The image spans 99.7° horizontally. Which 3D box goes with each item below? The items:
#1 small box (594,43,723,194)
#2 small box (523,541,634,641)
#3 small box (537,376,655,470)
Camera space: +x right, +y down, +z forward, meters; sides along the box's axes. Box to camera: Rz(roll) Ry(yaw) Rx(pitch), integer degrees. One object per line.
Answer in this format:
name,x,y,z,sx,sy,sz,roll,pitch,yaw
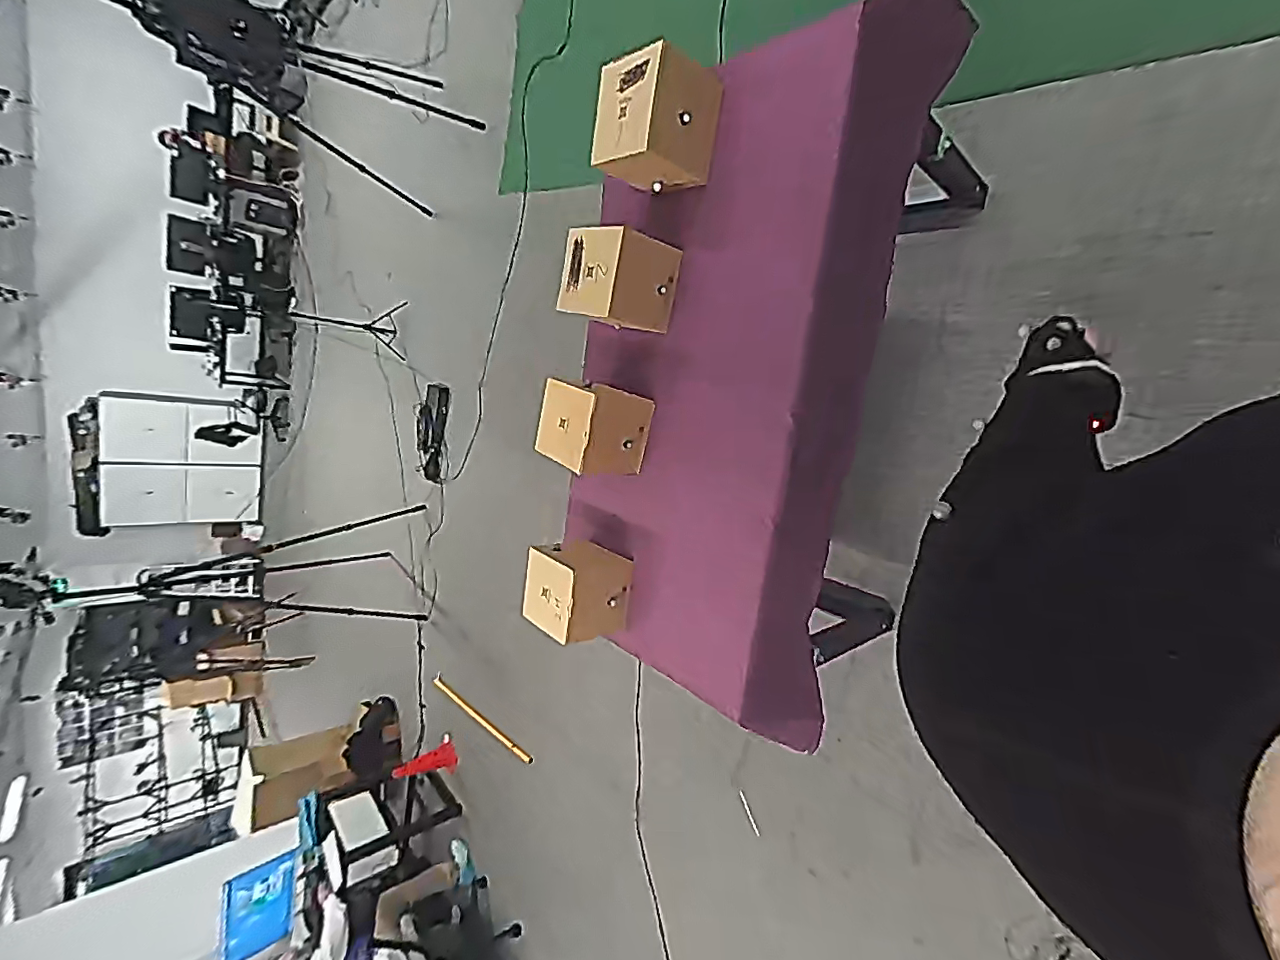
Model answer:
small box,0.038,-0.677,1.038,0.168,0.176,0.179,21,107,45
small box,-0.141,0.242,1.228,0.179,0.176,0.168,17,103,45
small box,-0.097,-0.122,1.187,0.179,0.176,0.168,27,109,42
